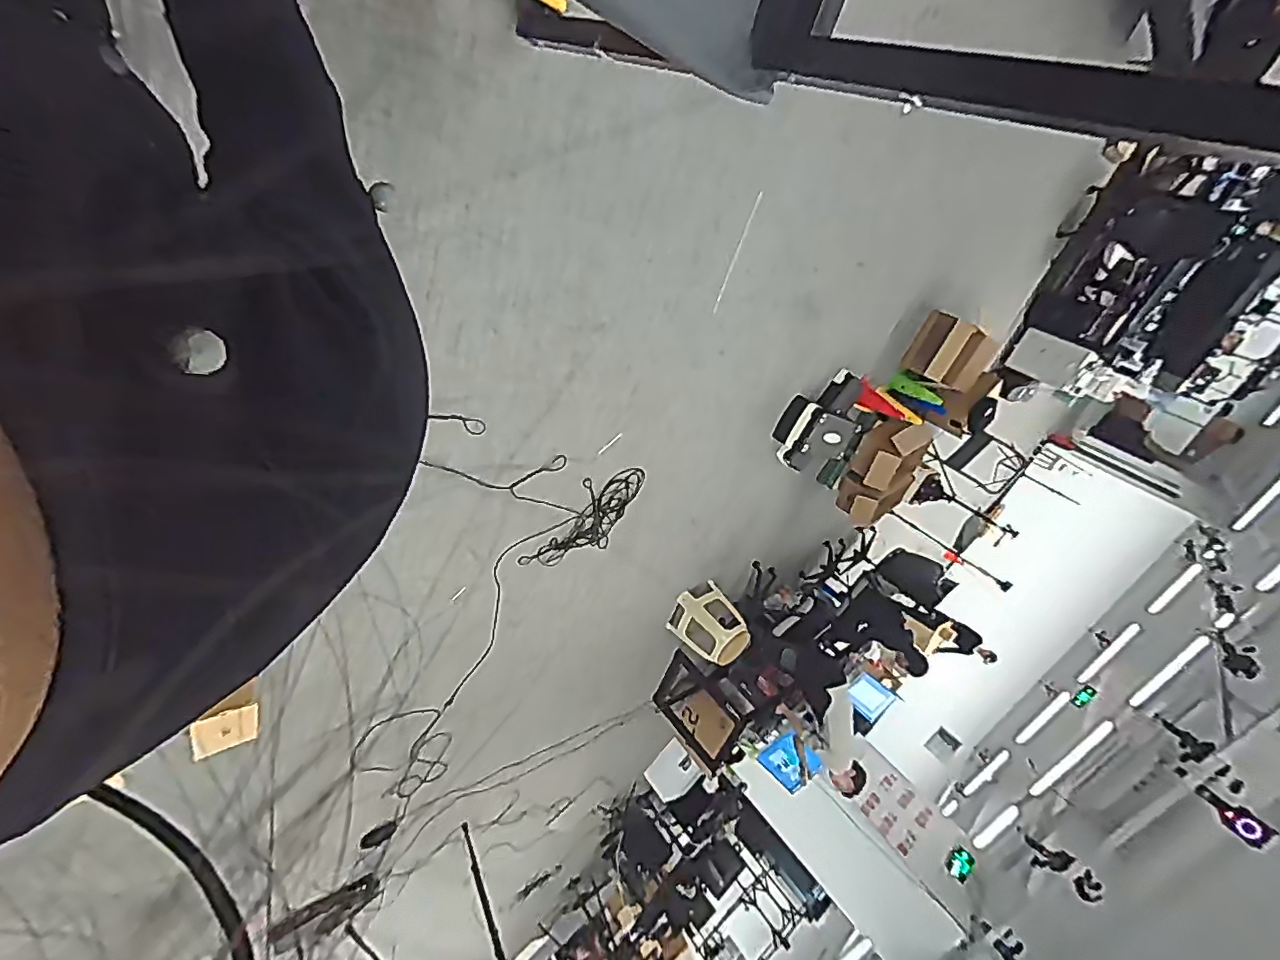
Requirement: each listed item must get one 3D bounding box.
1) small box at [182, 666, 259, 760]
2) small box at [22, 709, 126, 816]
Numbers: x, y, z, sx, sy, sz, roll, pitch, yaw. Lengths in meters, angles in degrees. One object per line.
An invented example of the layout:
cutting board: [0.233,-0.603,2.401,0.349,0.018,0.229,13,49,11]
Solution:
small box: [-1.309,0.721,1.690,0.168,0.176,0.179,-11,129,-43]
small box: [-1.538,0.757,1.472,0.168,0.176,0.179,-14,133,-39]
